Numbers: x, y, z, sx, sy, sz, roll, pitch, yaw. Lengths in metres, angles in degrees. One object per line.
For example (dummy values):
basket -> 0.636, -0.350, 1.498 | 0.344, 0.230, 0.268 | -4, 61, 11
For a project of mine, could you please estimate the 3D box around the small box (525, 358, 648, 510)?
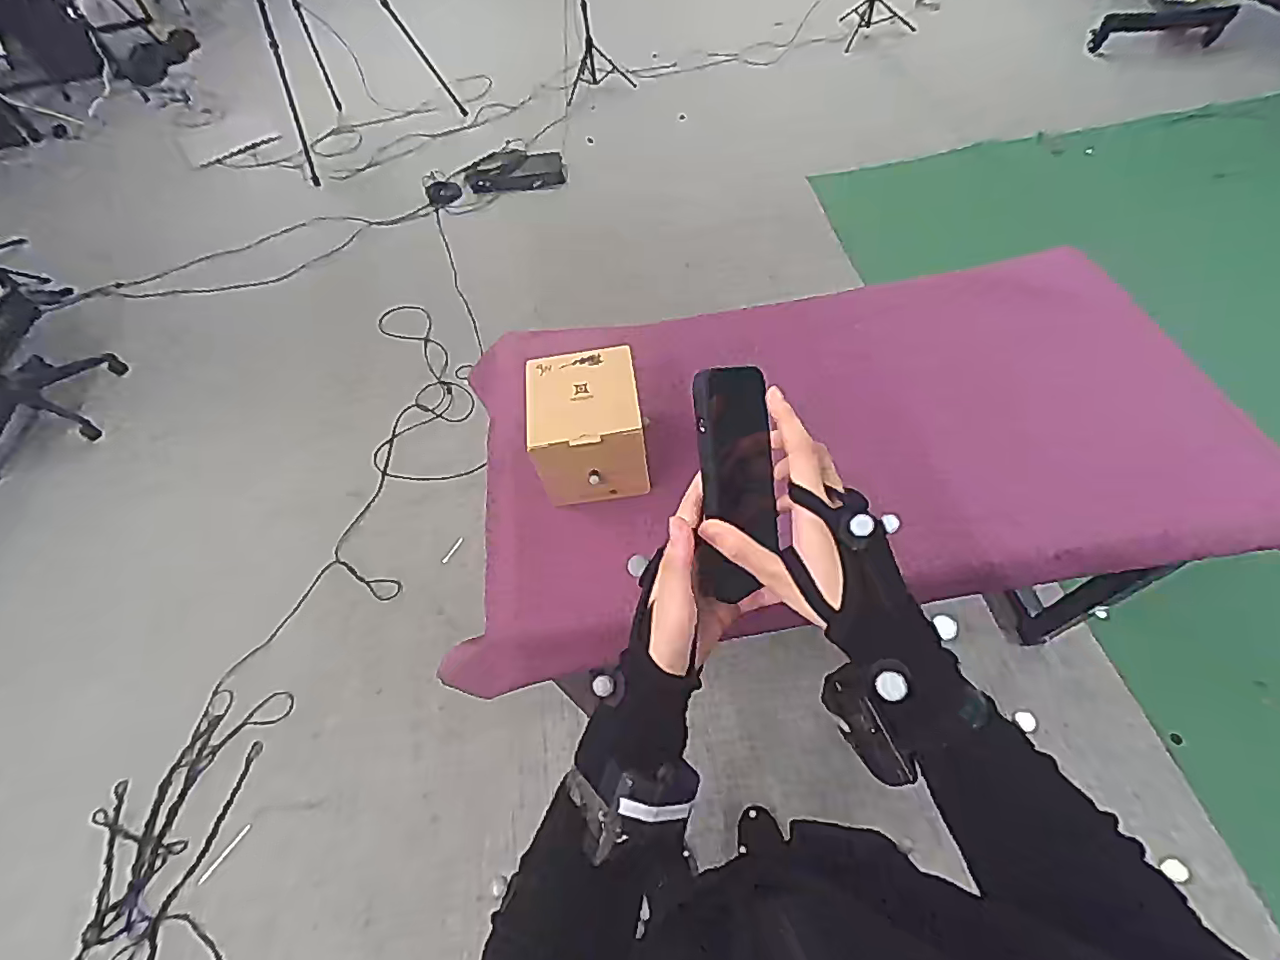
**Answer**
small box -> -0.081, -0.065, 0.868 | 0.168, 0.176, 0.179 | -8, 56, 1
